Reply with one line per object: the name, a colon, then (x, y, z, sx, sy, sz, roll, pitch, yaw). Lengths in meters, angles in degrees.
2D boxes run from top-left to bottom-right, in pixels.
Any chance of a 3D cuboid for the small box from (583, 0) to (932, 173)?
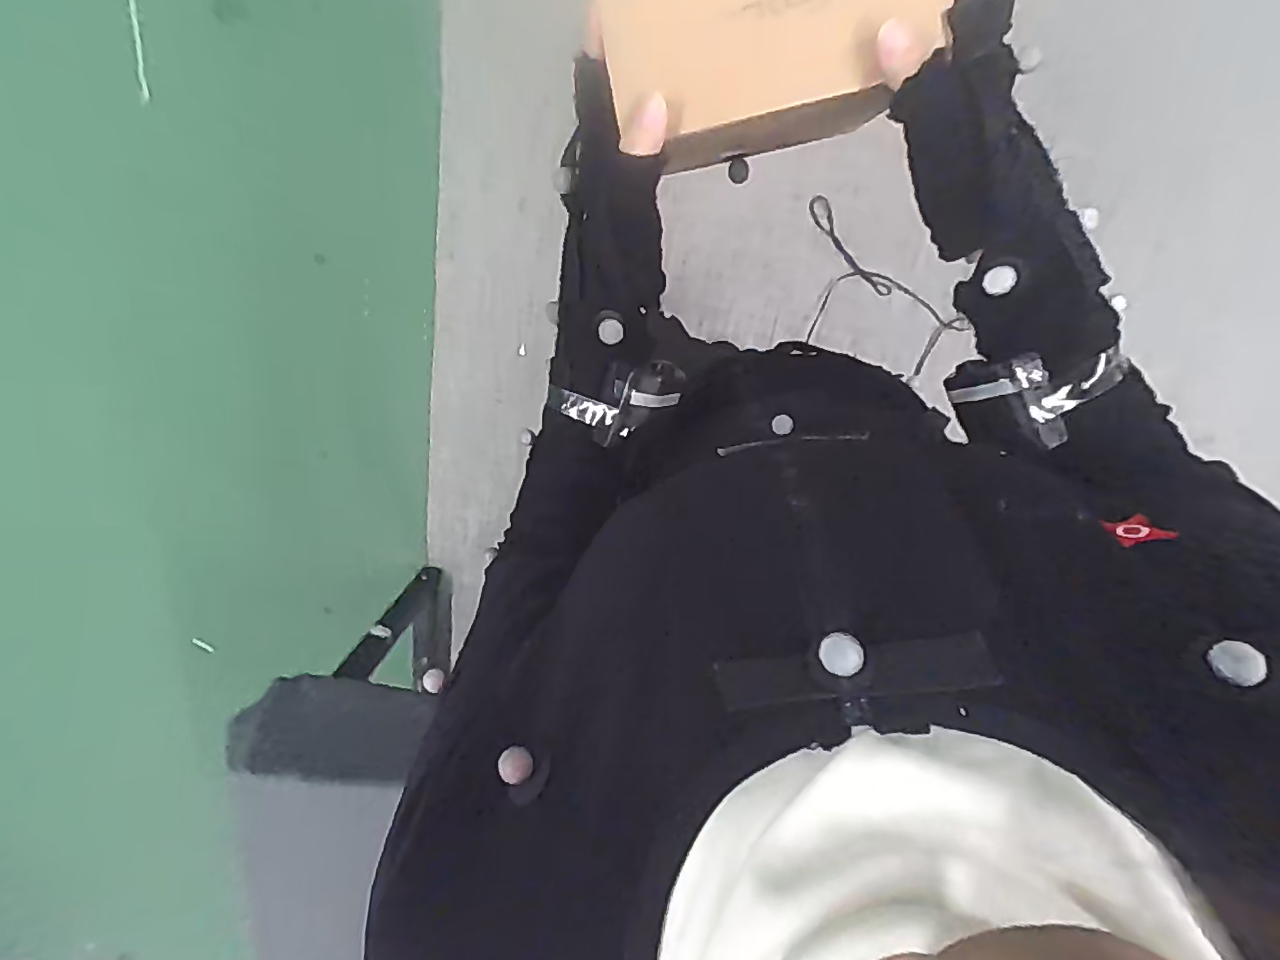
small box: (0.053, -0.299, 0.315, 0.168, 0.176, 0.179, -7, 114, 9)
